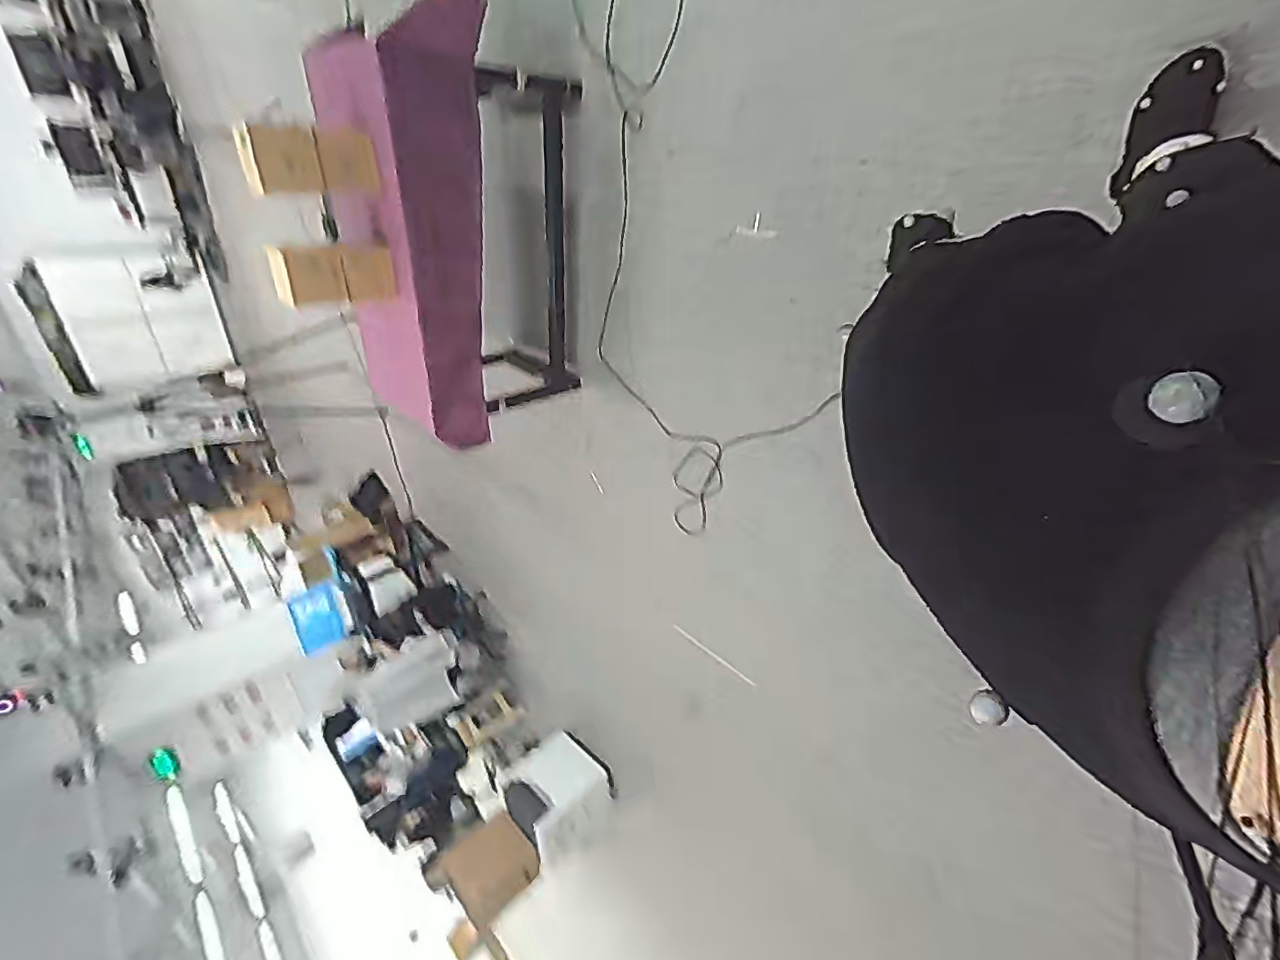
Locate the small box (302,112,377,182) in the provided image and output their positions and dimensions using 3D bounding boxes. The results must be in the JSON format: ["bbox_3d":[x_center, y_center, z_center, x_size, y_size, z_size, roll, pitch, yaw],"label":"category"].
[{"bbox_3d":[-0.939,-1.027,1.672,0.168,0.176,0.179,28,129,37],"label":"small box"}]

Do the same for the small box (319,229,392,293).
[{"bbox_3d":[-0.965,-0.752,1.847,0.168,0.176,0.179,32,129,36],"label":"small box"}]

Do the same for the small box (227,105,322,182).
[{"bbox_3d":[-1.054,-0.972,1.567,0.168,0.176,0.179,30,129,37],"label":"small box"}]

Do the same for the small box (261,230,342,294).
[{"bbox_3d":[-1.080,-0.707,1.741,0.179,0.176,0.168,31,128,37],"label":"small box"}]
